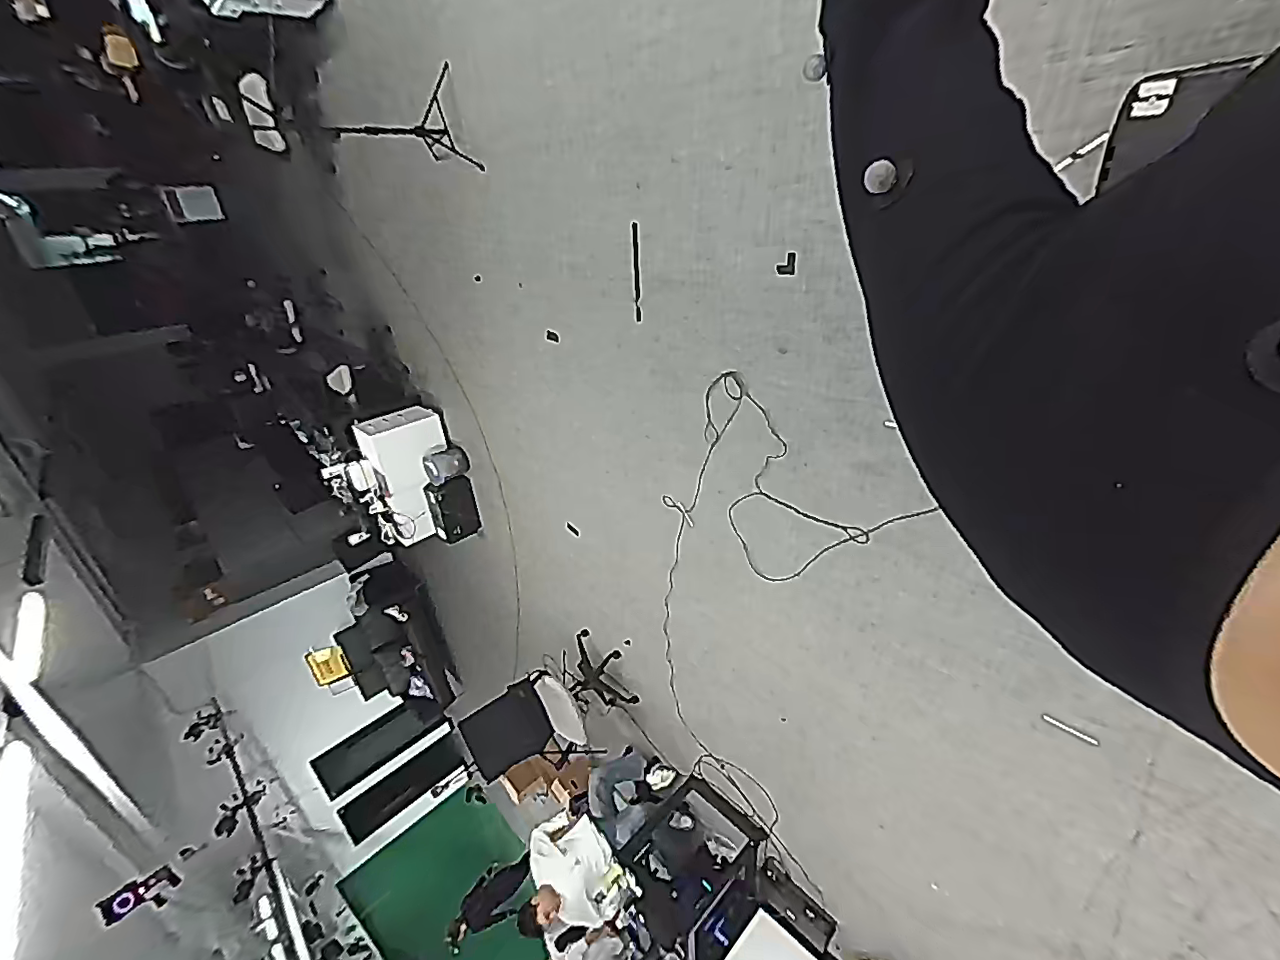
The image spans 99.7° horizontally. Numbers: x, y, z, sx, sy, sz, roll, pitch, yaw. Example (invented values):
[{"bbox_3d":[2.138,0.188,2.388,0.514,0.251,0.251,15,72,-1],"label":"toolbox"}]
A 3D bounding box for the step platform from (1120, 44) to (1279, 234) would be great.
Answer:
[{"bbox_3d":[1.220,-0.562,0.854,0.684,0.204,0.286,20,127,42],"label":"step platform"}]
